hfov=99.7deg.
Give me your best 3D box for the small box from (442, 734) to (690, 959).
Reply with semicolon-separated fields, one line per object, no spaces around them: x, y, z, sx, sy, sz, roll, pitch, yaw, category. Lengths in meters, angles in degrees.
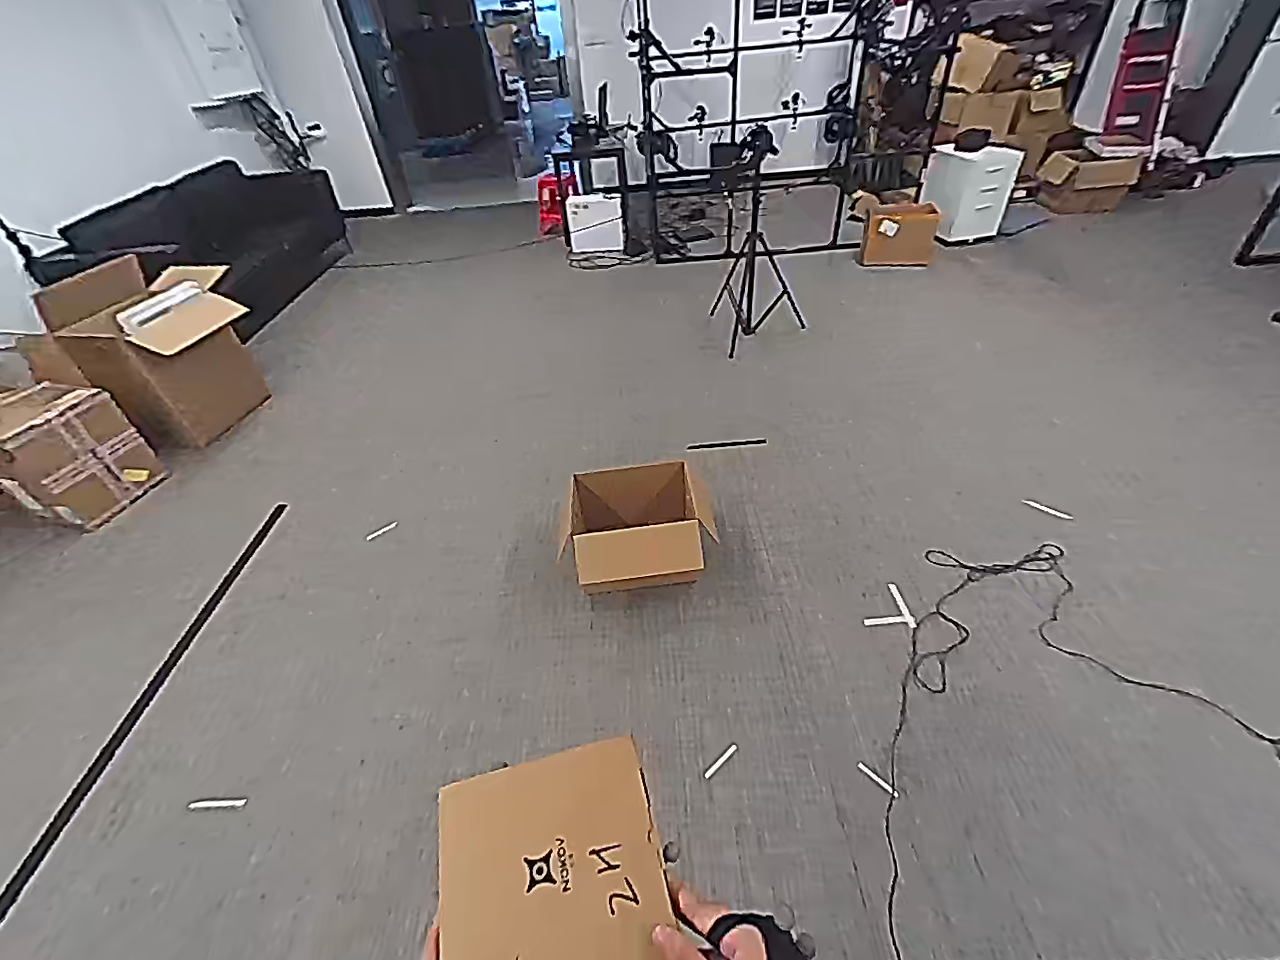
-0.059;0.352;0.475;0.179;0.176;0.168;-12;50;-6;small box
